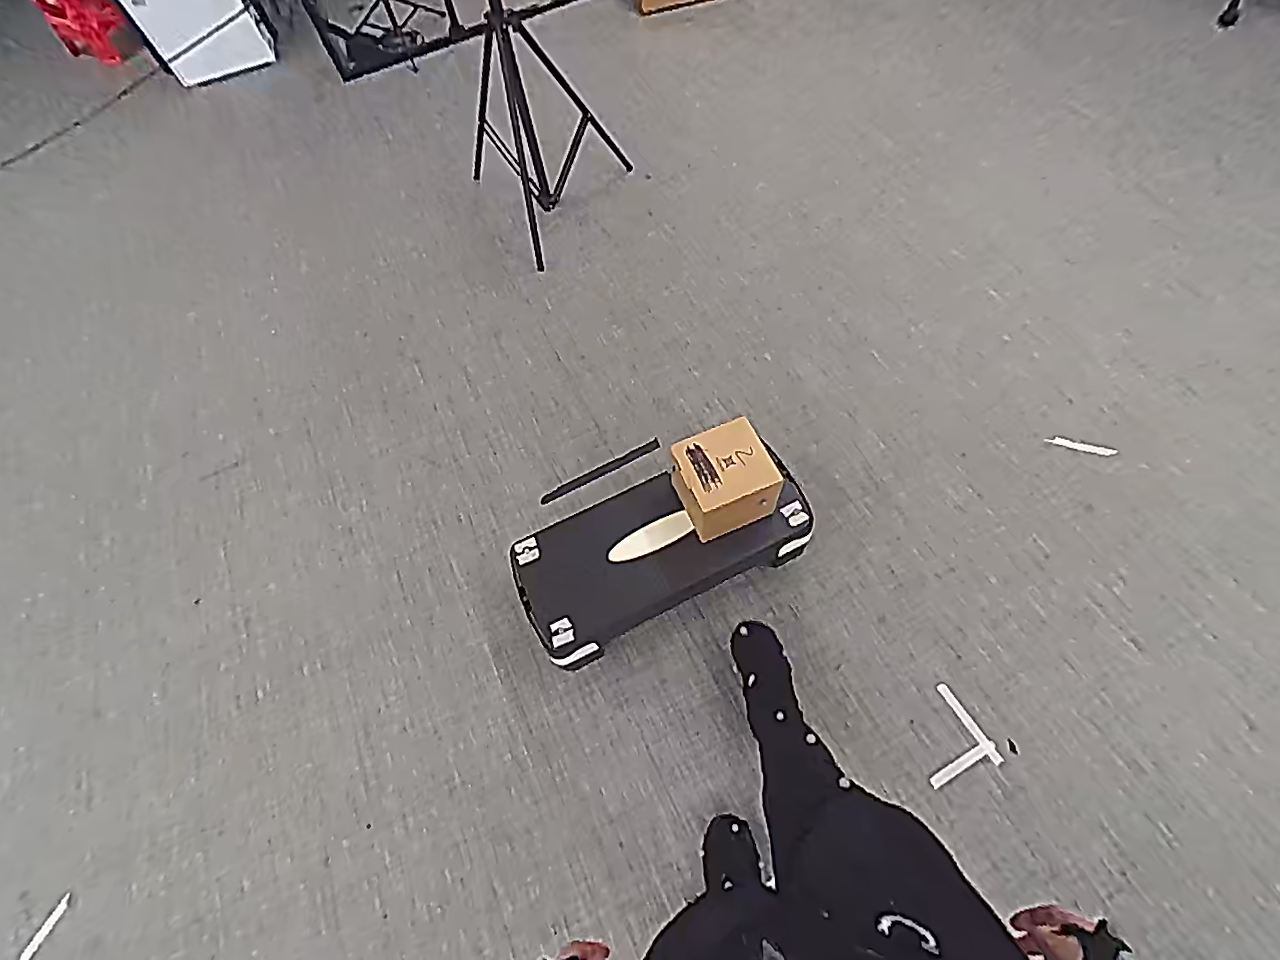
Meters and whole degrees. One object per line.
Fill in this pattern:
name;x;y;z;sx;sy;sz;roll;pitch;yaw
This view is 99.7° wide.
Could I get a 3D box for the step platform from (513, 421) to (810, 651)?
step platform;0.053;0.127;1.285;0.684;0.204;0.286;-26;64;-7
